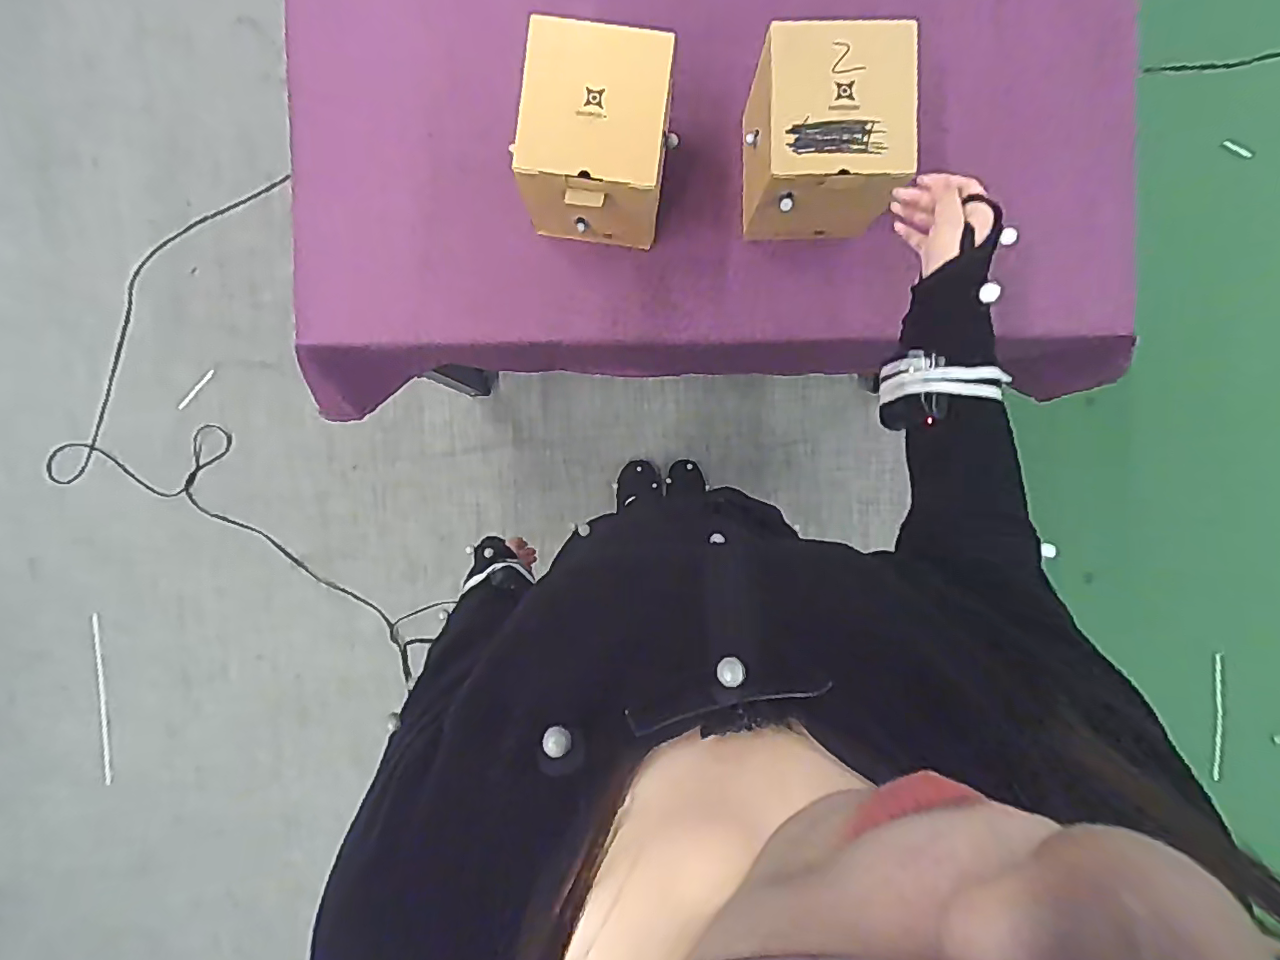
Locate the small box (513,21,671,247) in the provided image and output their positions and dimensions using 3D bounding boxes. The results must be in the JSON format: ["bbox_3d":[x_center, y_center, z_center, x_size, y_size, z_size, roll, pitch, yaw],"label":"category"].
[{"bbox_3d":[-0.057,-0.432,0.702,0.168,0.176,0.179,7,92,-1],"label":"small box"}]
